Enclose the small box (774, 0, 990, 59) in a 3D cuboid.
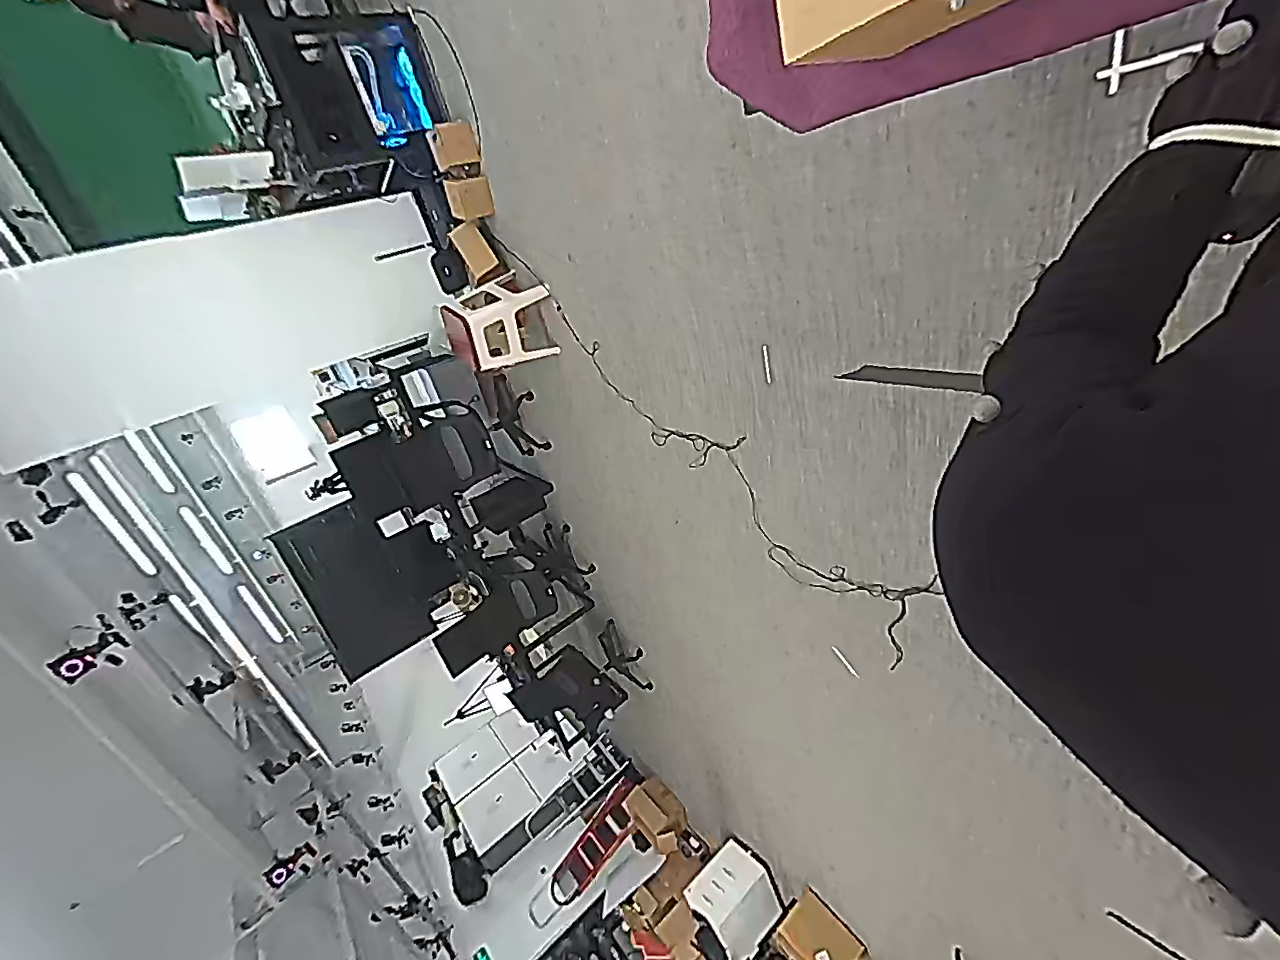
[{"bbox_3d":[0.219,-0.467,0.428,0.179,0.176,0.168,15,128,52],"label":"small box"}]
